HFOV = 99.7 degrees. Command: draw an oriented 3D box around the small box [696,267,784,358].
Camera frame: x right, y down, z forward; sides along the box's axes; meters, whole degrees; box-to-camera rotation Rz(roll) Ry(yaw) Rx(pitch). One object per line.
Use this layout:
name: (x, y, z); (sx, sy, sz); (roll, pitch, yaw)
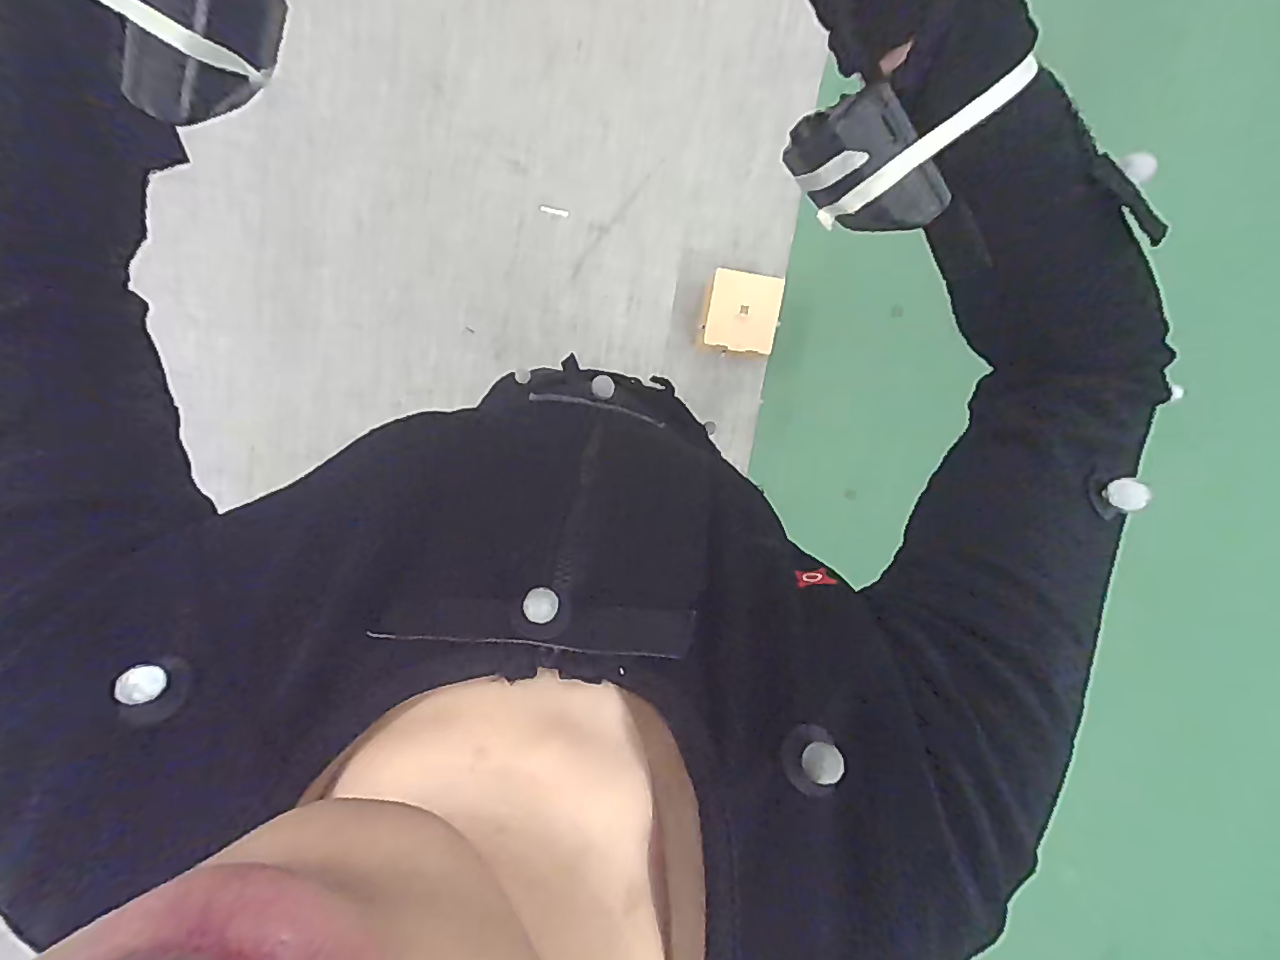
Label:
small box: (0.238, -0.406, 1.336); (0.168, 0.176, 0.179); (9, 99, -2)
